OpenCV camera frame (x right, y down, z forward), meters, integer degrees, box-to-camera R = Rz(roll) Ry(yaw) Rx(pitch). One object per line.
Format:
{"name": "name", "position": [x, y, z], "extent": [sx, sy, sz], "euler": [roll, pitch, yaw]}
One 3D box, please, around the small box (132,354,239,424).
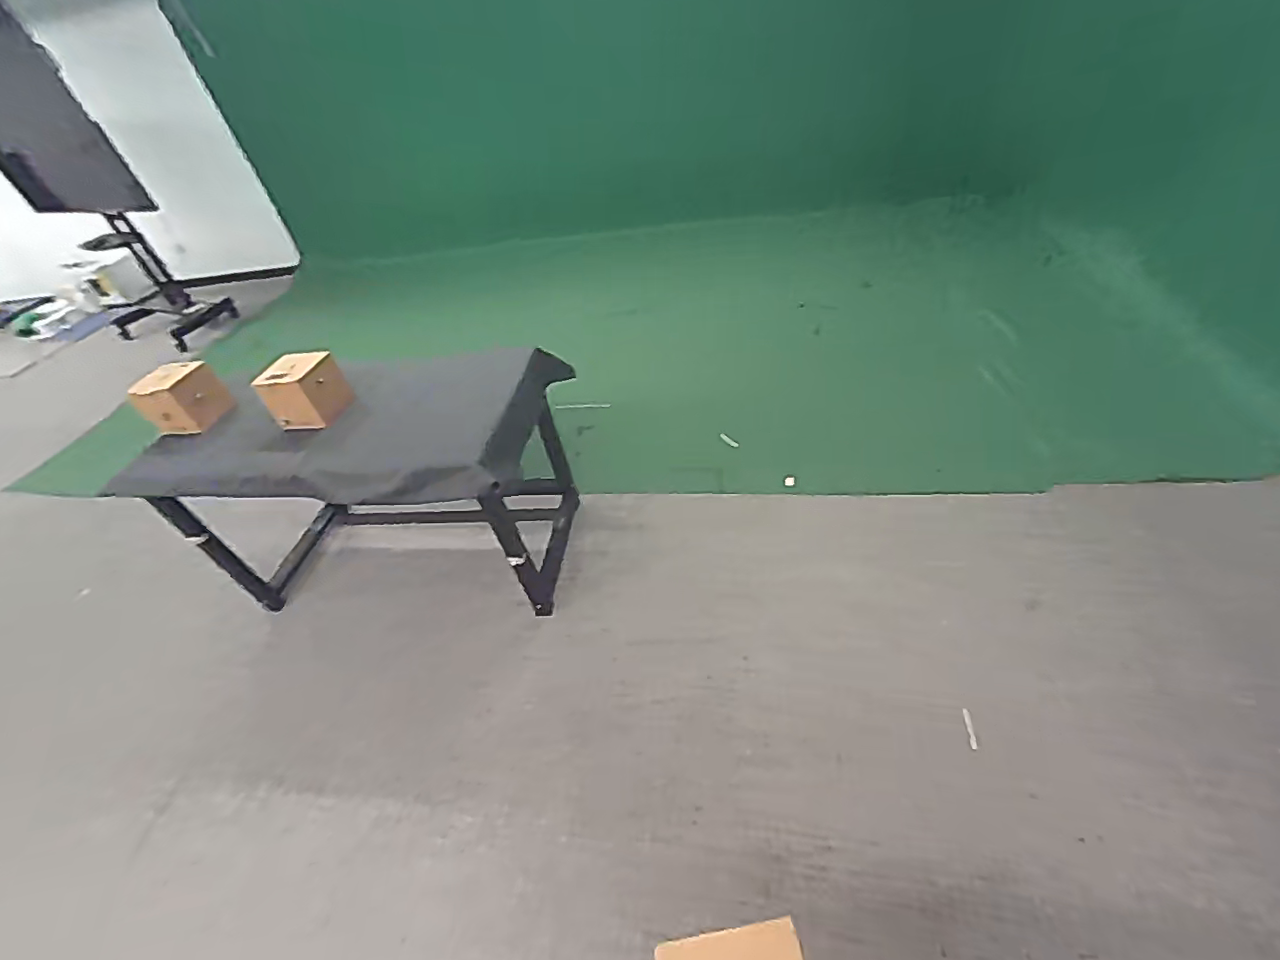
{"name": "small box", "position": [-1.486, -0.296, 1.785], "extent": [0.168, 0.176, 0.179], "euler": [0, 45, 11]}

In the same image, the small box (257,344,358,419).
{"name": "small box", "position": [-1.023, -0.300, 1.684], "extent": [0.168, 0.176, 0.179], "euler": [0, 43, 13]}
